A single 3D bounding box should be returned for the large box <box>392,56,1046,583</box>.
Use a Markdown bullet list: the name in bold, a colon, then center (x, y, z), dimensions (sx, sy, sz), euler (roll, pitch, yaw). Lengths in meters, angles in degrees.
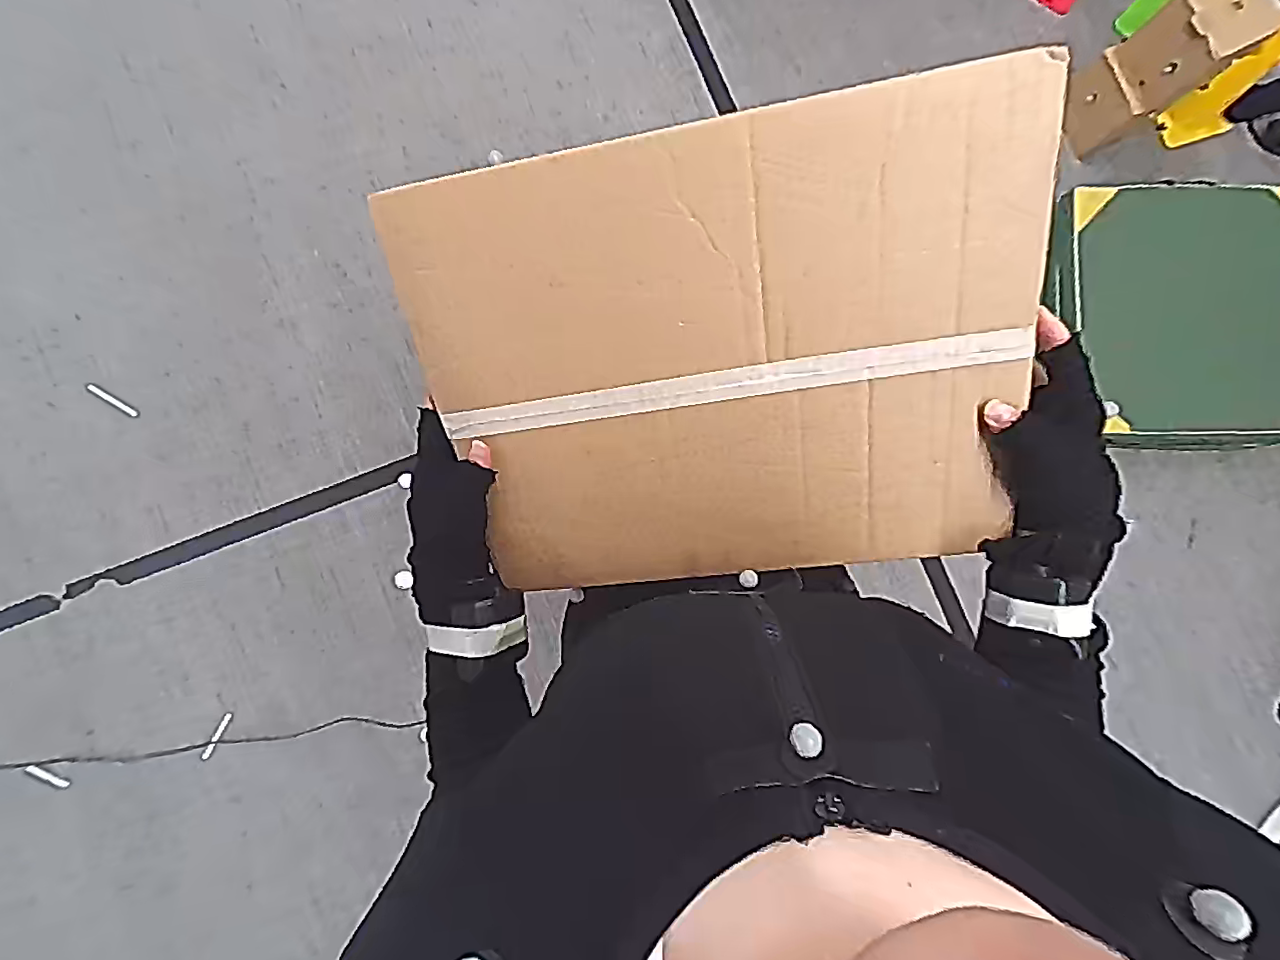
- **large box**: center (0.066, -0.132, 0.518), dimensions (0.408, 0.320, 0.320), euler (-6, 115, 9)
